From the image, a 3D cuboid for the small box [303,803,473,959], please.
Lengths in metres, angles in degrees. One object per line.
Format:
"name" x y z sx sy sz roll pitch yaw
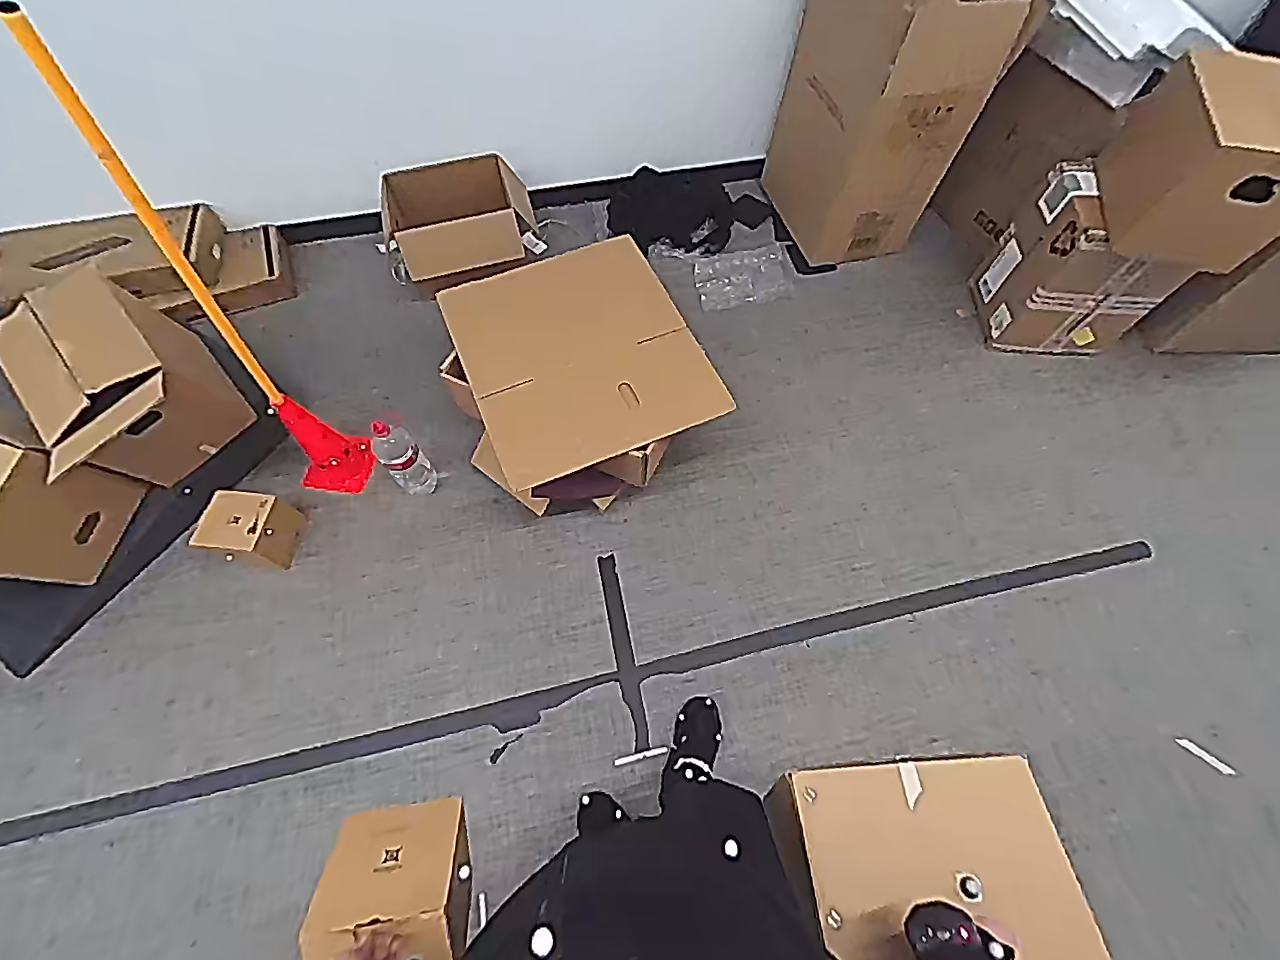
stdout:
"small box" -0.329 0.594 0.745 0.168 0.179 0.176 -3 104 -10
